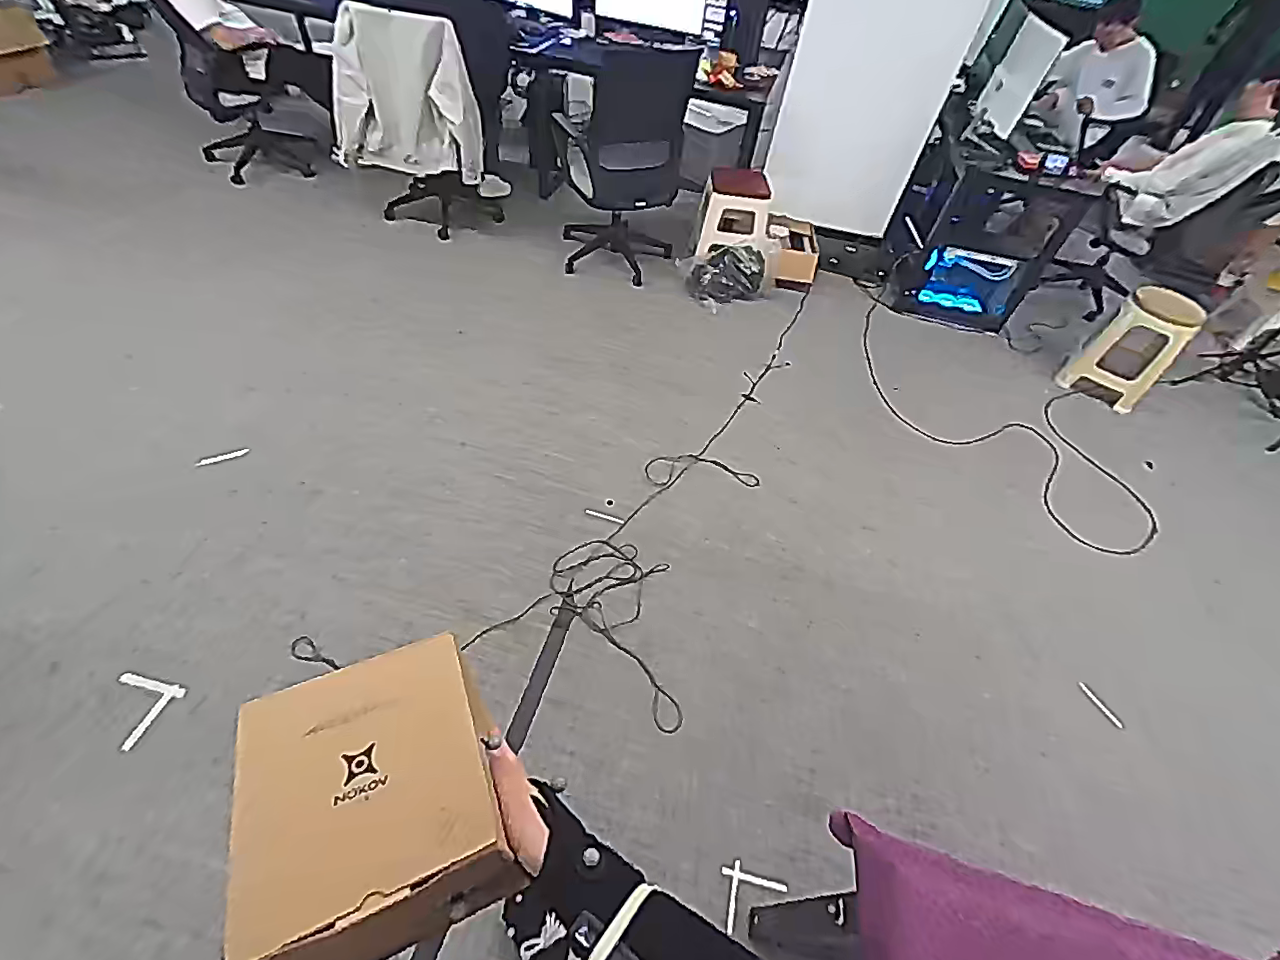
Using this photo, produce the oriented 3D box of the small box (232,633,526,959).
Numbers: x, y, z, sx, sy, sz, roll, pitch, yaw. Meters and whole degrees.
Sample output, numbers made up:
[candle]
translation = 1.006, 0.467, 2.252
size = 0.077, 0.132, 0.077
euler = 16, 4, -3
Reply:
[small box]
translation = -0.203, 0.267, 0.451
size = 0.168, 0.176, 0.179
euler = -17, 48, -19
